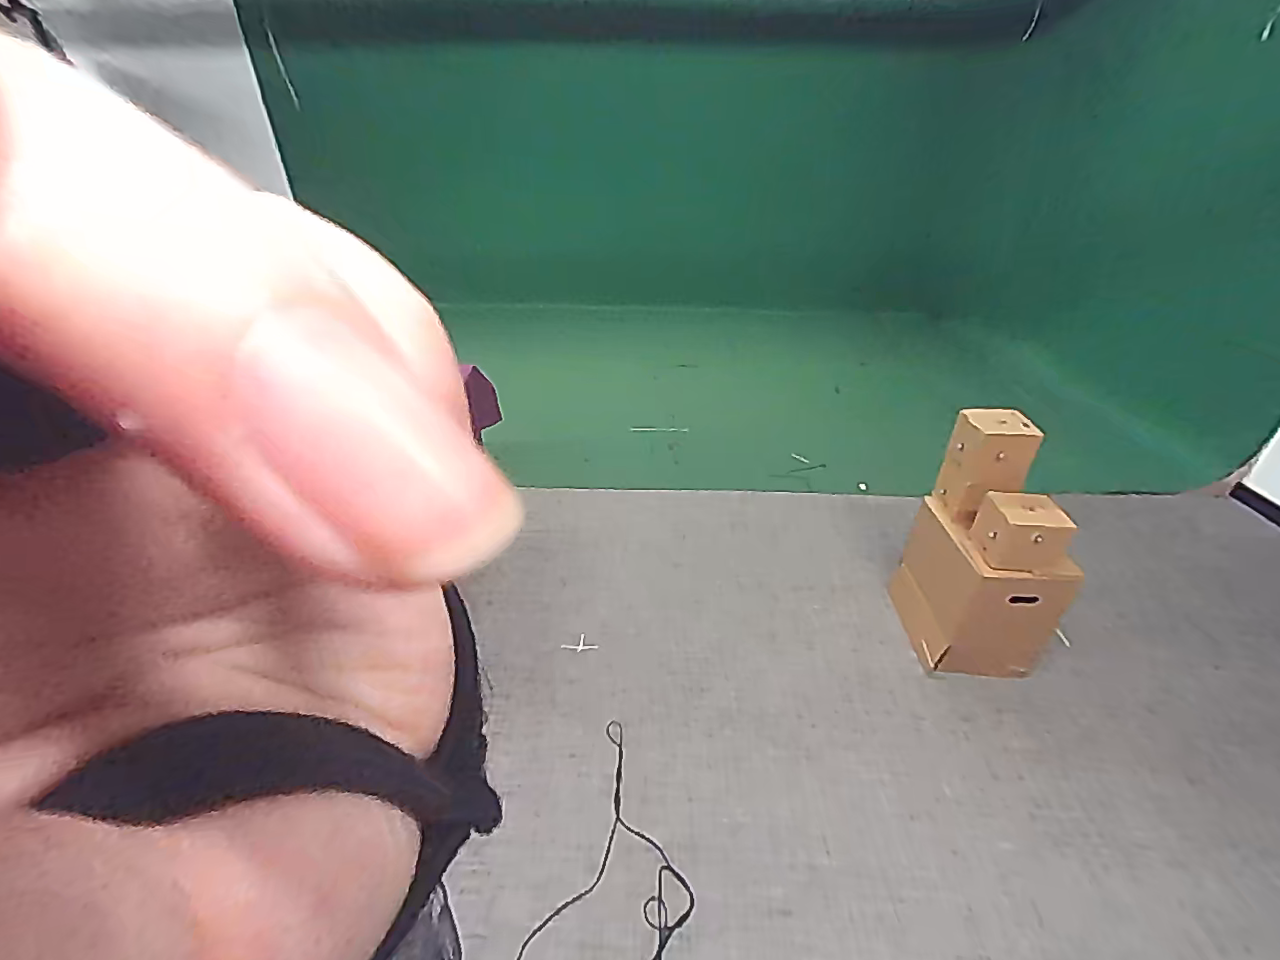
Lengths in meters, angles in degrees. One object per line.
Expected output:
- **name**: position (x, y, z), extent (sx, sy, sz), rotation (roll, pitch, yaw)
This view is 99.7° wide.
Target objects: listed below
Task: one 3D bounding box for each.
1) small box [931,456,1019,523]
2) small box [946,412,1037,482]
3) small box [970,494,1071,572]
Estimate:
- **small box**: position (1.109, 0.032, 1.806), extent (0.179, 0.176, 0.168), rotation (0, 34, 3)
- **small box**: position (1.101, -0.105, 1.717), extent (0.179, 0.176, 0.168), rotation (0, 34, 4)
- **small box**: position (1.114, 0.158, 1.606), extent (0.179, 0.176, 0.168), rotation (4, 32, 4)
